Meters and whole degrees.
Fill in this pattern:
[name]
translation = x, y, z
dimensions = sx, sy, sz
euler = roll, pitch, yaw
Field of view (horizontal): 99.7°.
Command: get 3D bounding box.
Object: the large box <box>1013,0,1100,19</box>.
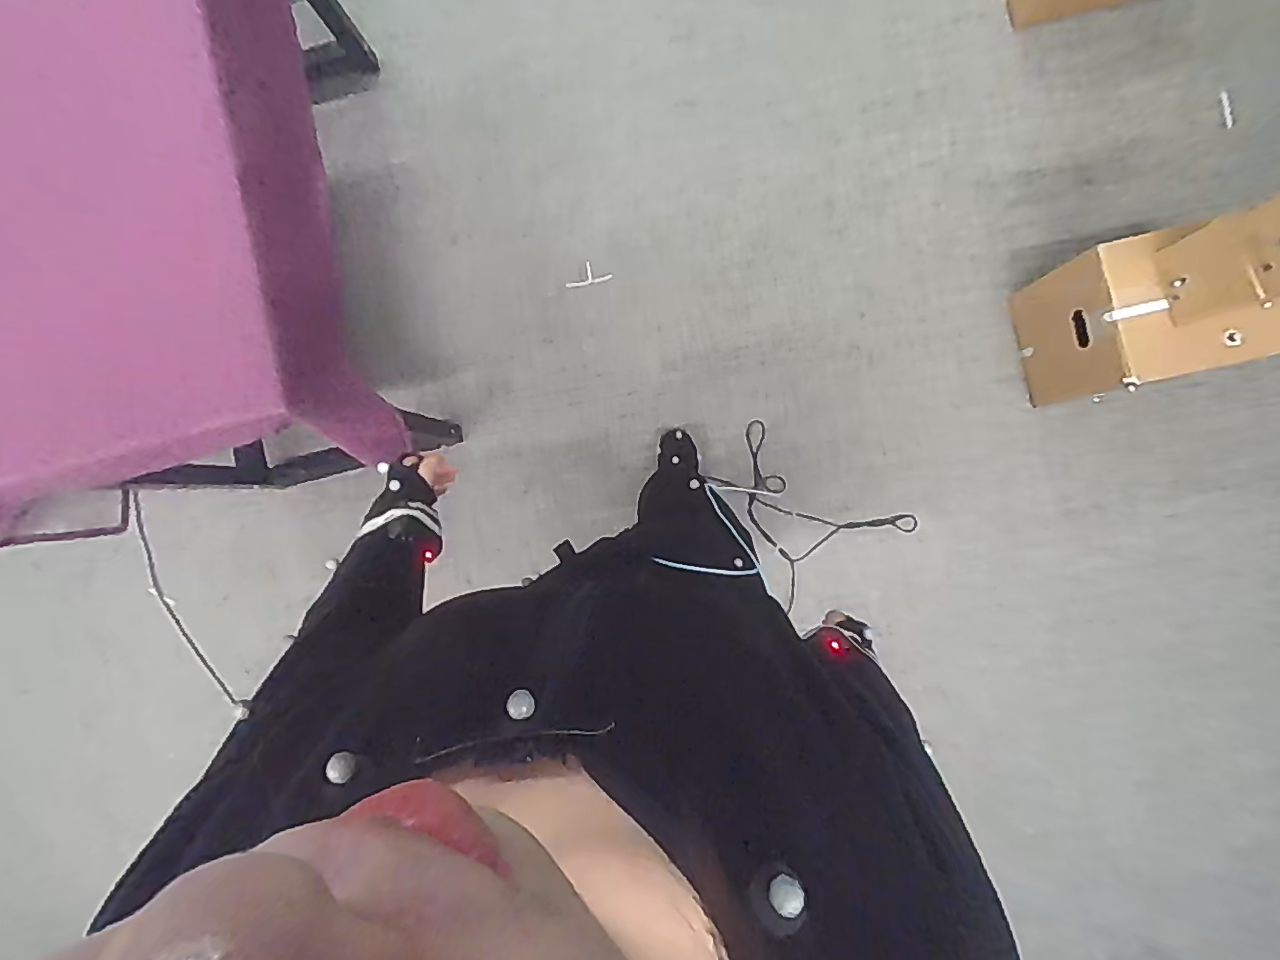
[large box]
translation = 1.163, -1.420, 1.297
dimensions = 0.408, 0.320, 0.320
euler = -11, 89, 2

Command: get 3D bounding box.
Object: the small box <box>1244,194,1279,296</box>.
[small box]
translation = 1.164, -0.426, 0.881
dimensions = 0.179, 0.176, 0.168
euler = -20, 87, 4
